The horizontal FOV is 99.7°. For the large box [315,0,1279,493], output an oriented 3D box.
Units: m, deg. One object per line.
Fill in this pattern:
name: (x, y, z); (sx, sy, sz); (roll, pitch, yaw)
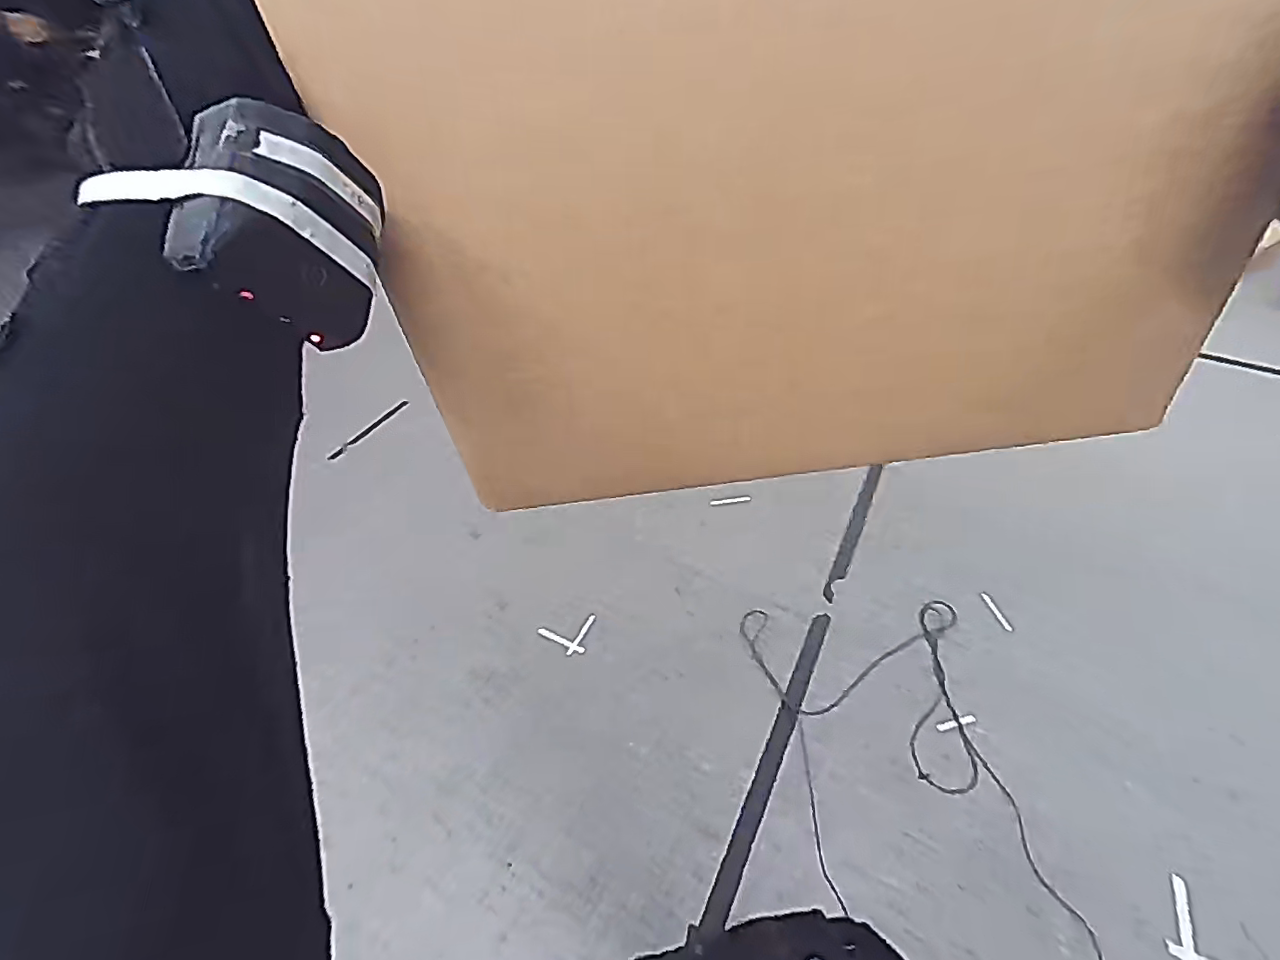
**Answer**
large box: (0.078, -0.220, 0.361); (0.408, 0.320, 0.320); (-7, 39, 3)
